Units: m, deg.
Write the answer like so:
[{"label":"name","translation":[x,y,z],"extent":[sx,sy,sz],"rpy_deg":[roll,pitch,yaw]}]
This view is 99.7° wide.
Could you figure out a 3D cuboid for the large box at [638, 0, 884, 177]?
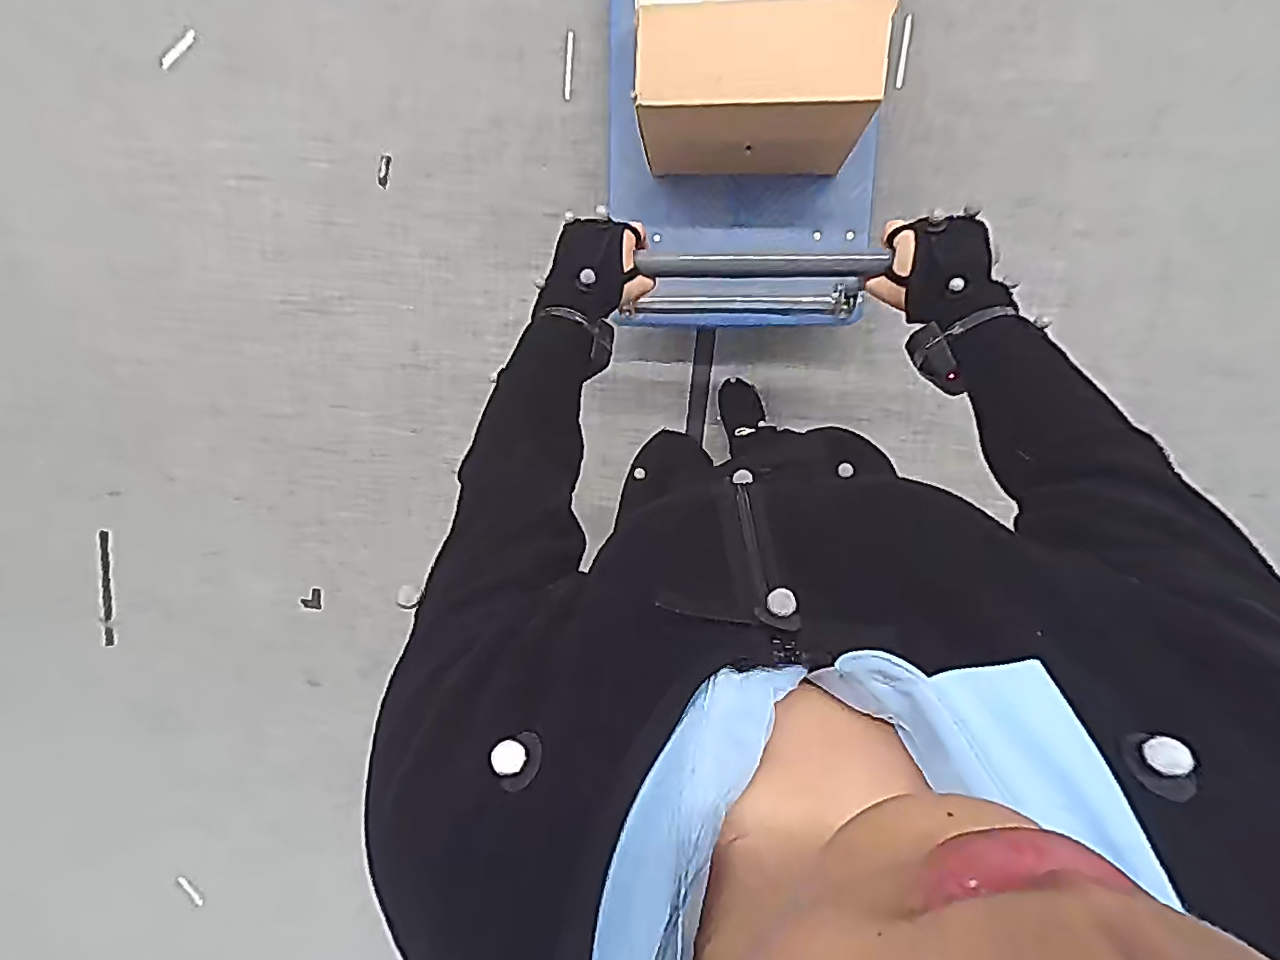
[{"label":"large box","translation":[0.216,-0.802,1.031],"extent":[0.408,0.320,0.320],"rpy_deg":[3,99,7]}]
